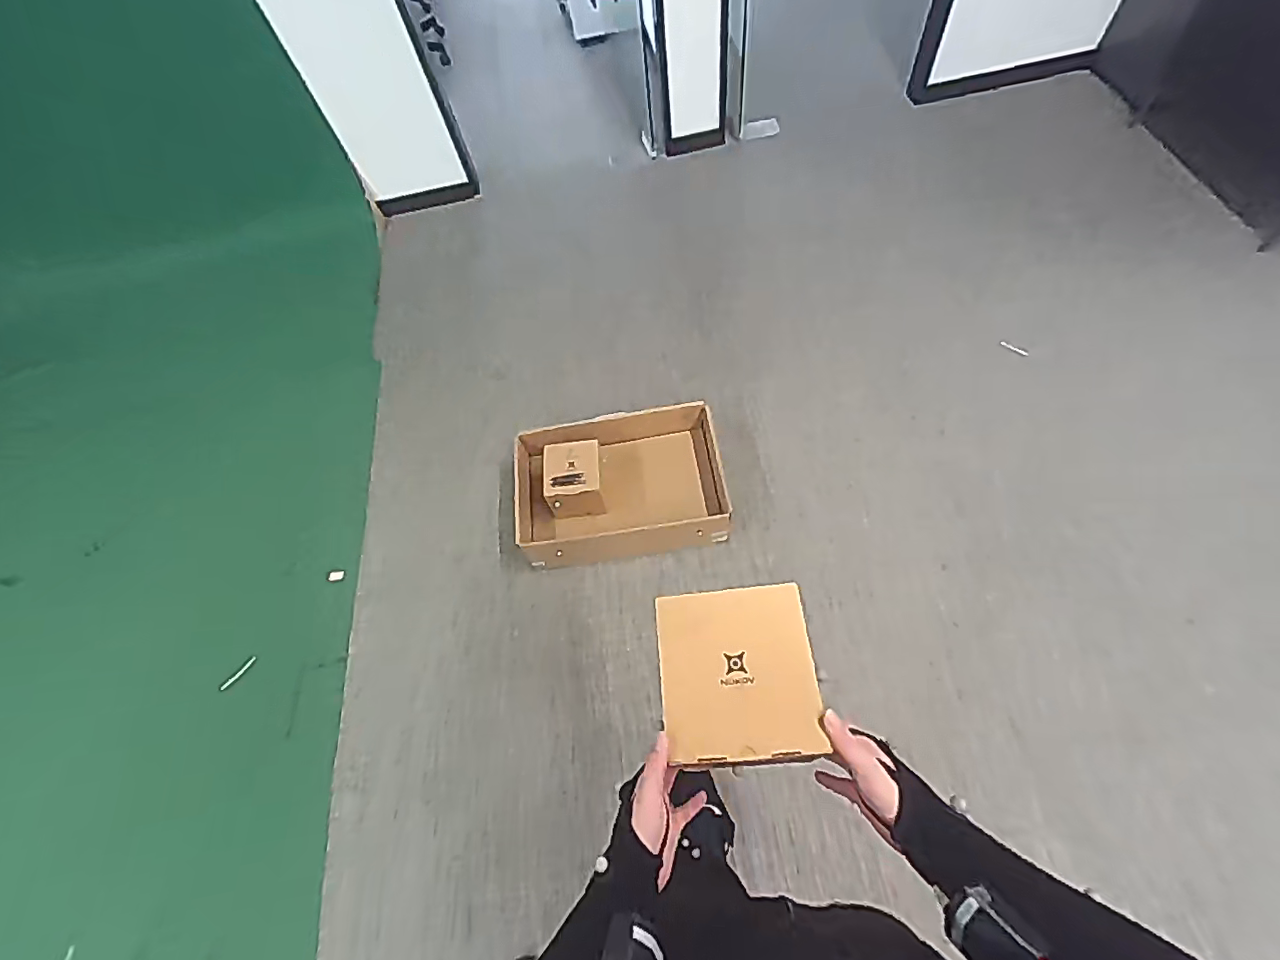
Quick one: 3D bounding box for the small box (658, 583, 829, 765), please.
[{"bbox_3d":[0.114,0.239,0.650,0.168,0.176,0.179,-7,61,6],"label":"small box"}]
